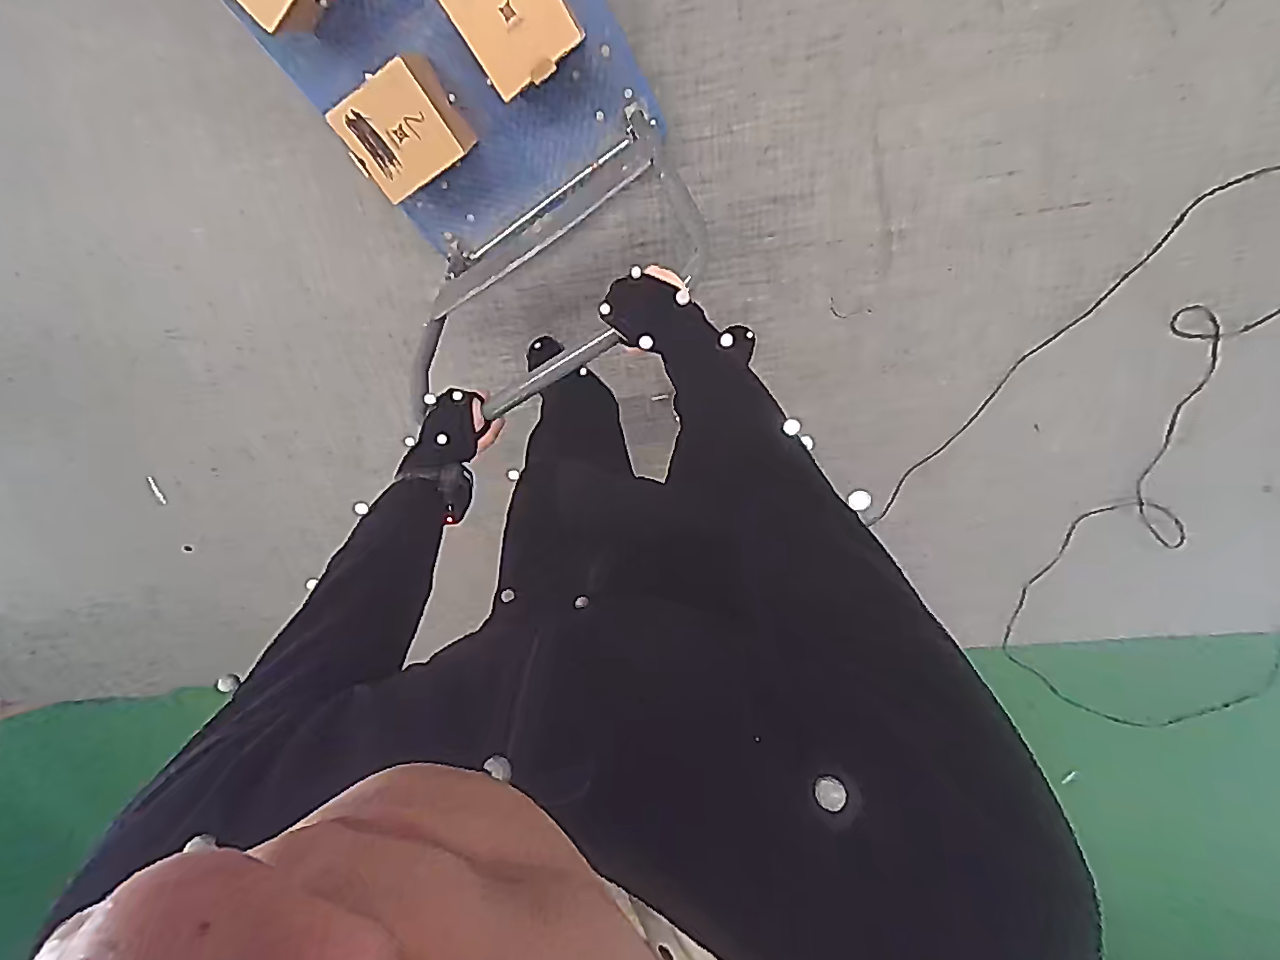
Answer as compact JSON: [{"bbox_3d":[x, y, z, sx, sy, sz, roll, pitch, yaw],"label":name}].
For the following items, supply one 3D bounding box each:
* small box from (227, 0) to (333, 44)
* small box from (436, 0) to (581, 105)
[{"bbox_3d":[-0.586,-0.837,0.848,0.168,0.176,0.179,-34,125,20],"label":"small box"},{"bbox_3d":[-0.218,-0.790,0.929,0.168,0.176,0.179,-28,128,17],"label":"small box"}]
